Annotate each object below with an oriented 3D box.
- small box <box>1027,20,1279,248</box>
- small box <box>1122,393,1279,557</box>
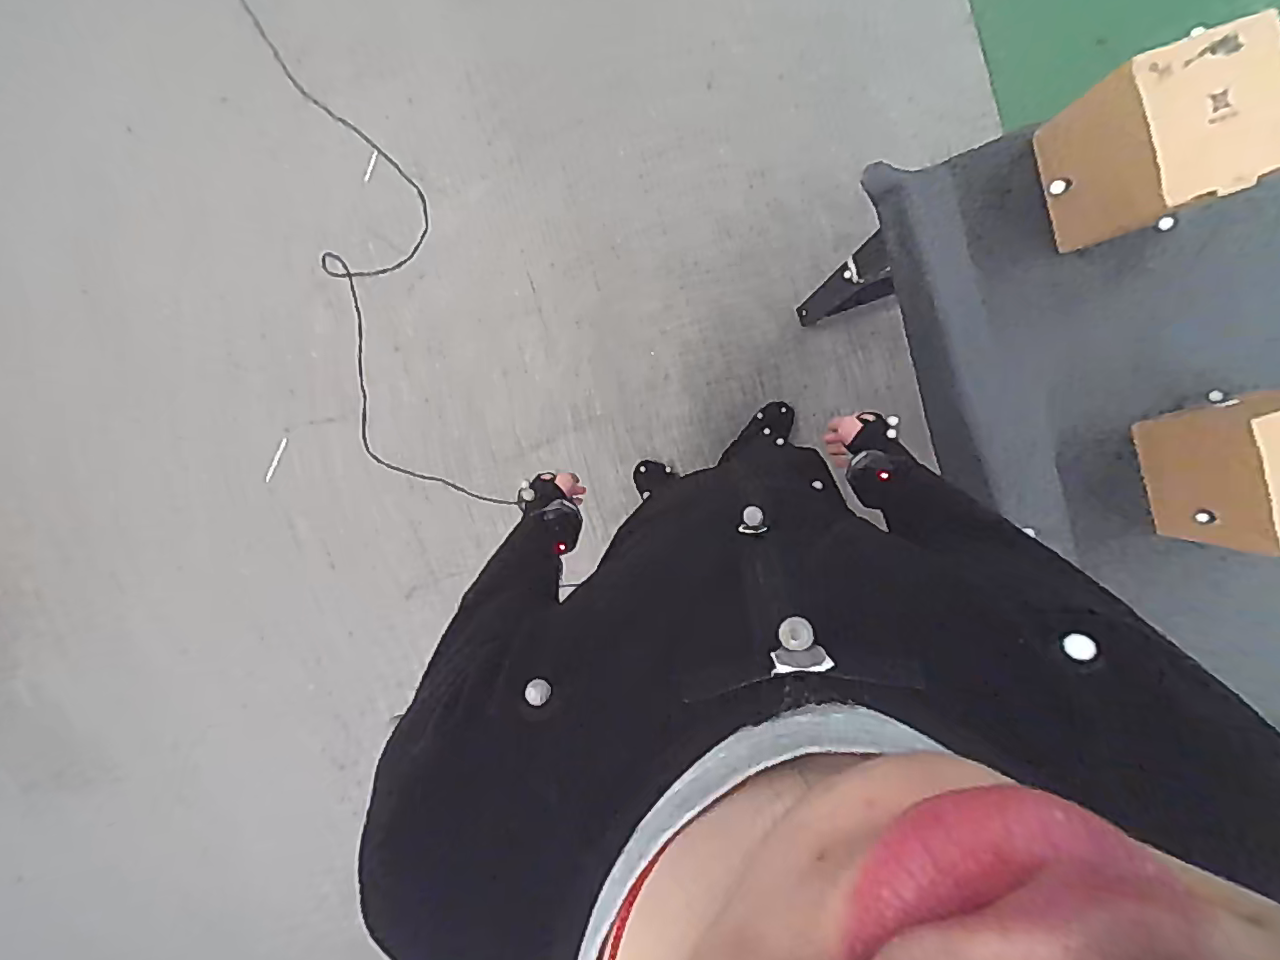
[{"bbox_3d":[0.651,-0.422,0.698,0.168,0.176,0.179,-18,95,1],"label":"small box"},{"bbox_3d":[0.817,-0.016,0.730,0.168,0.176,0.179,-18,93,0],"label":"small box"}]
